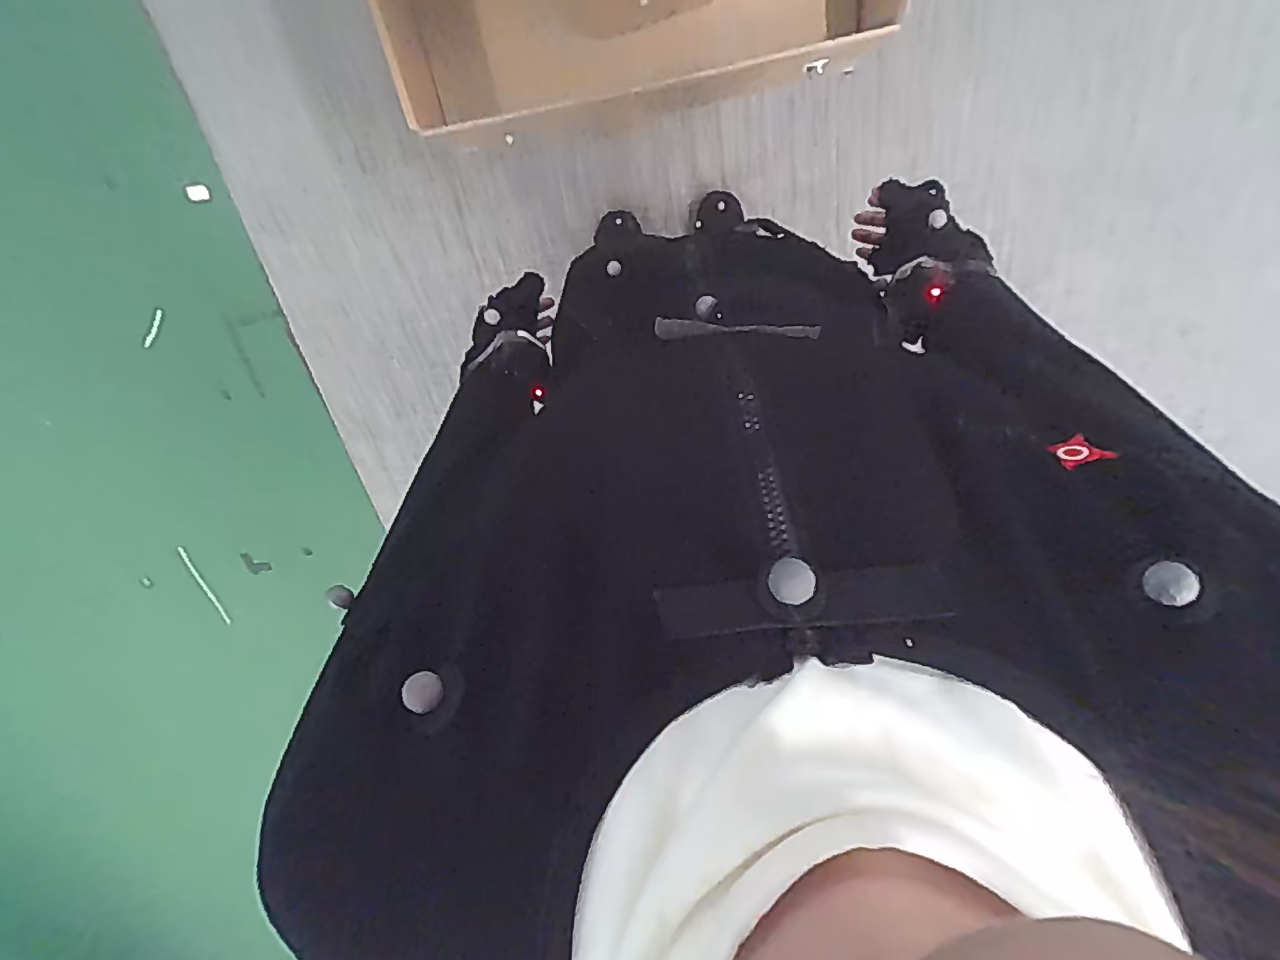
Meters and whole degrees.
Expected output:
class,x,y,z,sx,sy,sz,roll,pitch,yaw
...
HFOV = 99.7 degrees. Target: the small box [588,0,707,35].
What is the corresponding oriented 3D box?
class,x,y,z,sx,sy,sz,roll,pitch,yaw
small box,-0.002,-0.669,0.630,0.168,0.176,0.179,-12,116,10
